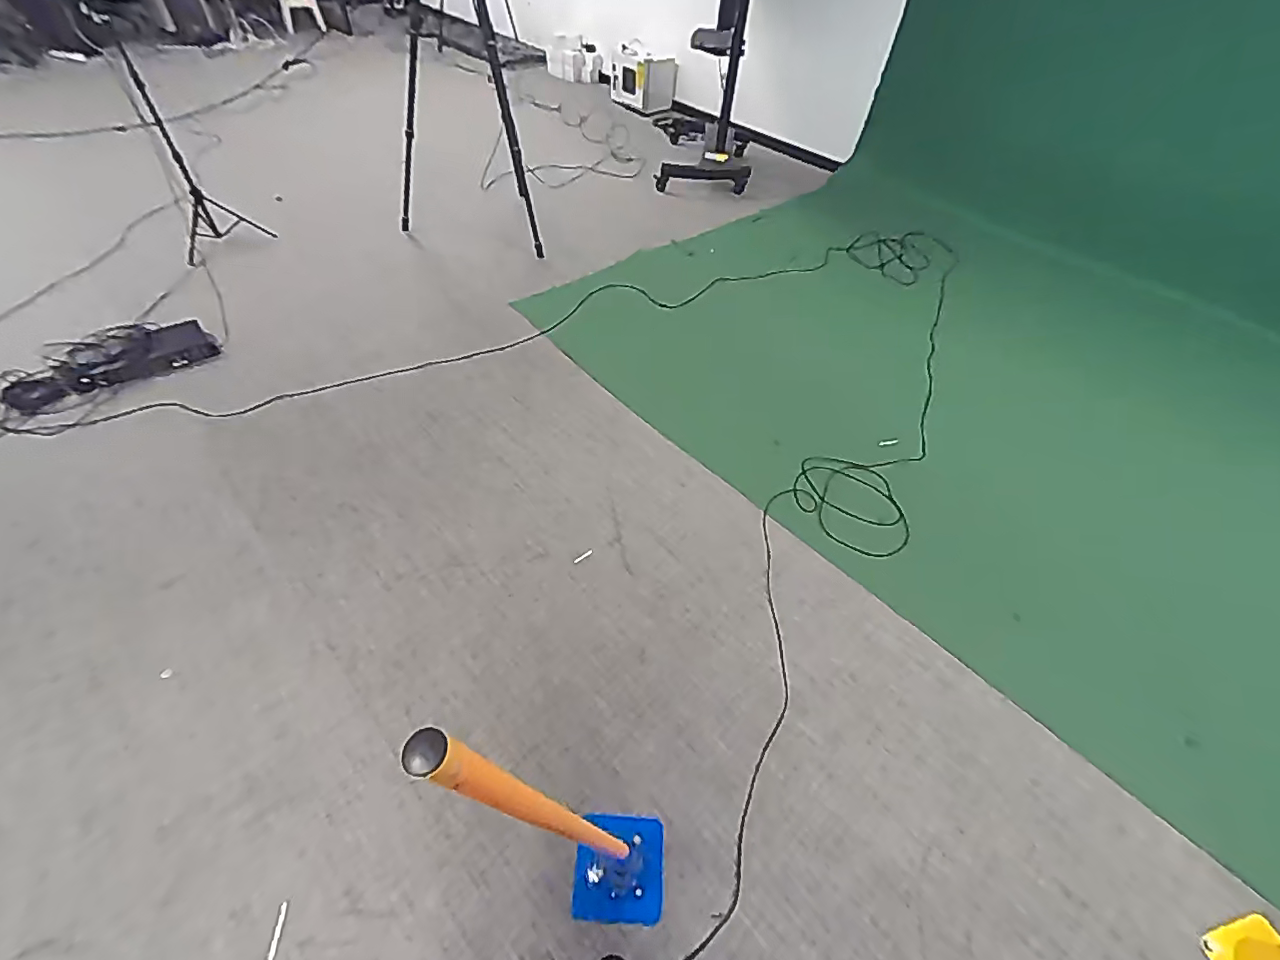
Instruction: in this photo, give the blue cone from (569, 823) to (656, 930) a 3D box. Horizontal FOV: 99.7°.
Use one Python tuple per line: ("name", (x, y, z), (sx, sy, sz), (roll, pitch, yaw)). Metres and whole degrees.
("blue cone", (-0.054, 0.770, 1.074), (0.193, 0.380, 0.192), (3, 50, -1))
